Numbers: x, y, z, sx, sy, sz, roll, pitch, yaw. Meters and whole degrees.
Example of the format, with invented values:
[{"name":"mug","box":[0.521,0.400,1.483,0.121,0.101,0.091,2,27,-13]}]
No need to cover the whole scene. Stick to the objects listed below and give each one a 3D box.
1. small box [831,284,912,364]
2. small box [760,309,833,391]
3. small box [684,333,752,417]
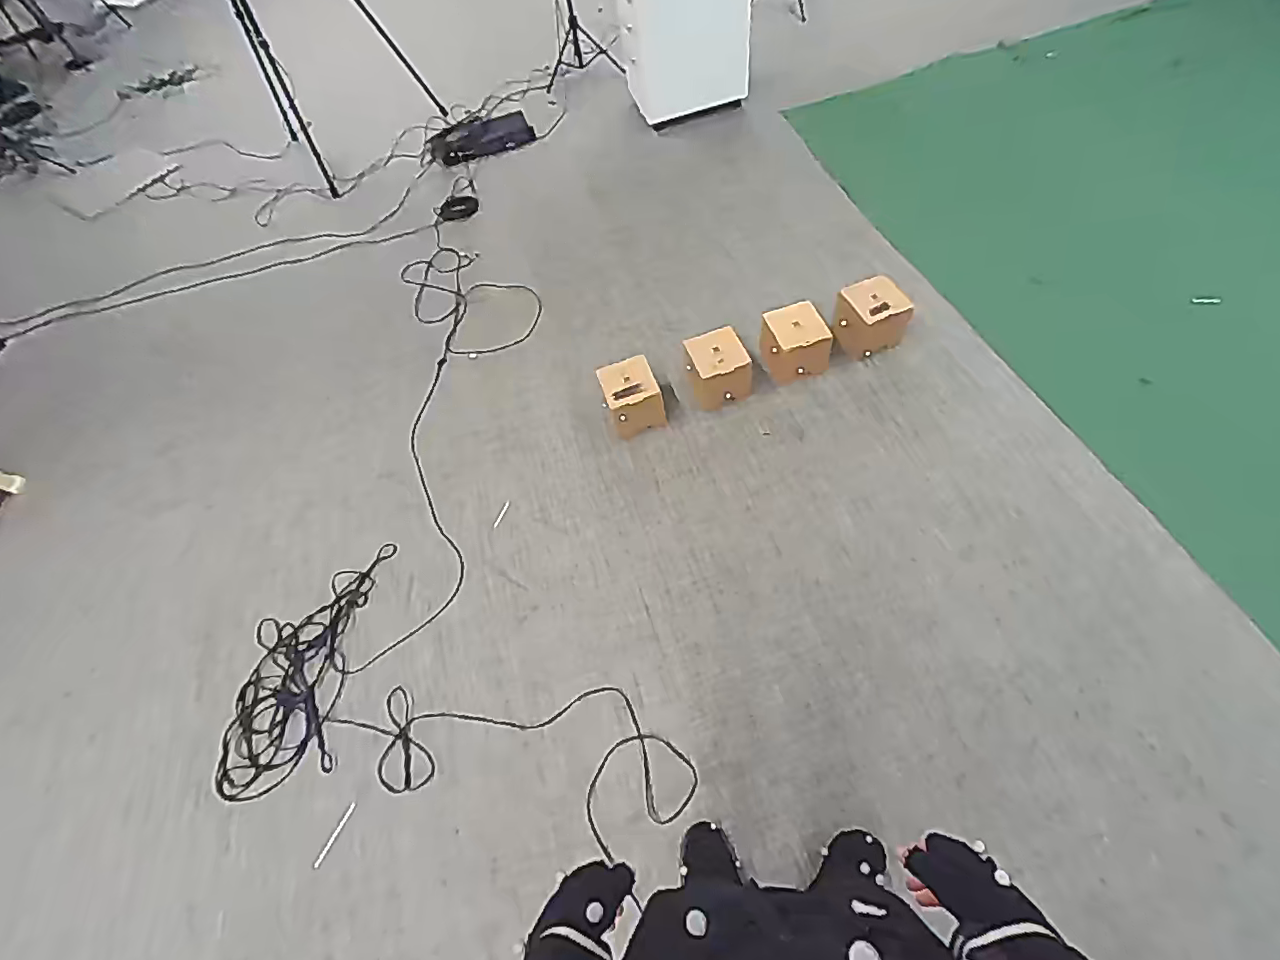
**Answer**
[{"name":"small box","box":[0.759,-0.509,1.792,0.168,0.176,0.179,-20,58,-4]},{"name":"small box","box":[0.504,-0.423,1.777,0.168,0.176,0.179,-17,59,-3]},{"name":"small box","box":[0.251,-0.338,1.758,0.168,0.176,0.179,-20,59,-3]}]
